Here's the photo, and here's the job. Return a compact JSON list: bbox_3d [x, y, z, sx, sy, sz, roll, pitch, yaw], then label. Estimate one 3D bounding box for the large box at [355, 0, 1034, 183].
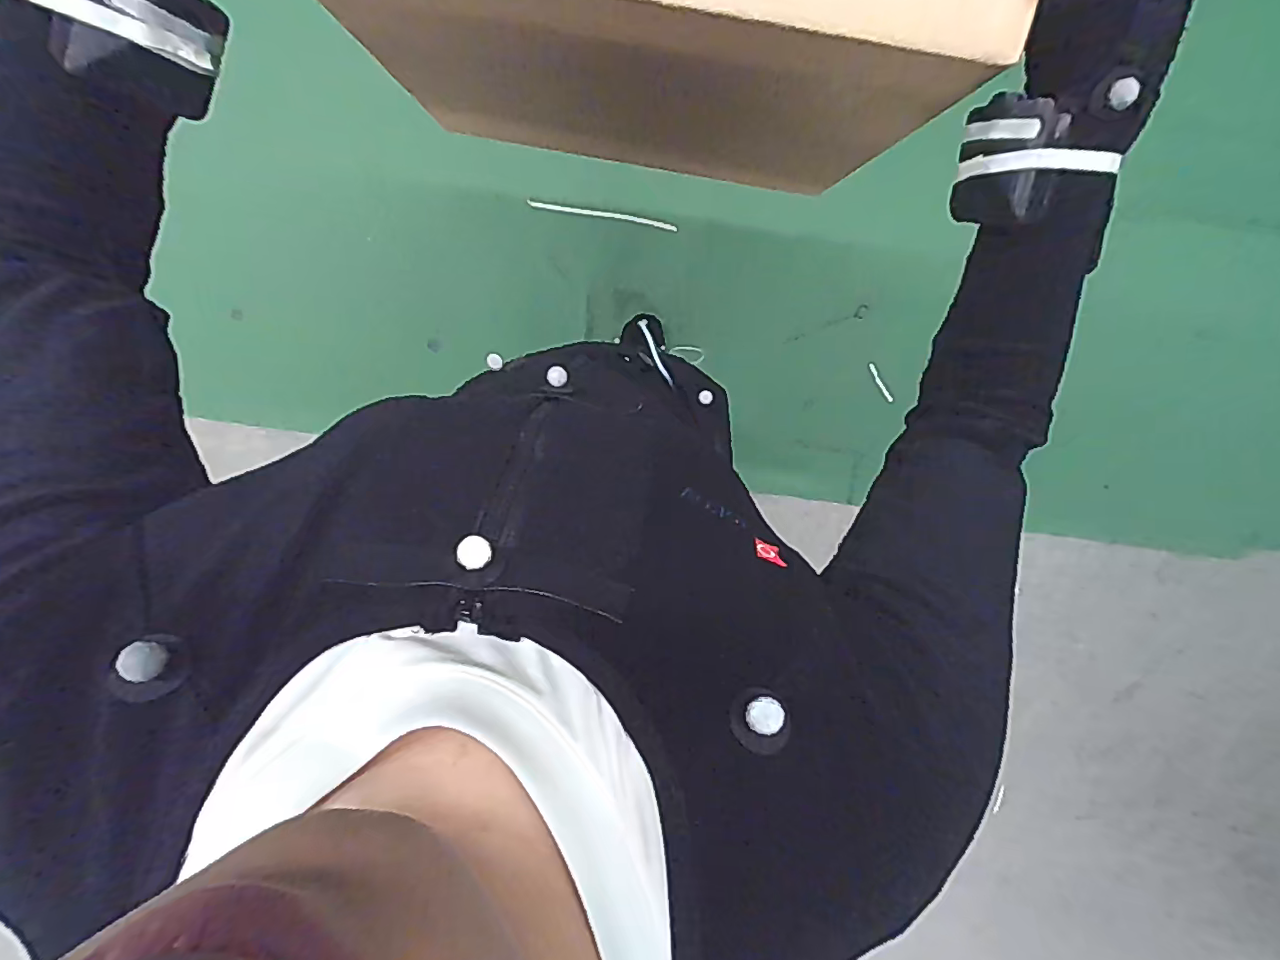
[{"bbox_3d":[0.027,-0.445,0.389,0.408,0.320,0.320,7,107,-4],"label":"large box"}]
